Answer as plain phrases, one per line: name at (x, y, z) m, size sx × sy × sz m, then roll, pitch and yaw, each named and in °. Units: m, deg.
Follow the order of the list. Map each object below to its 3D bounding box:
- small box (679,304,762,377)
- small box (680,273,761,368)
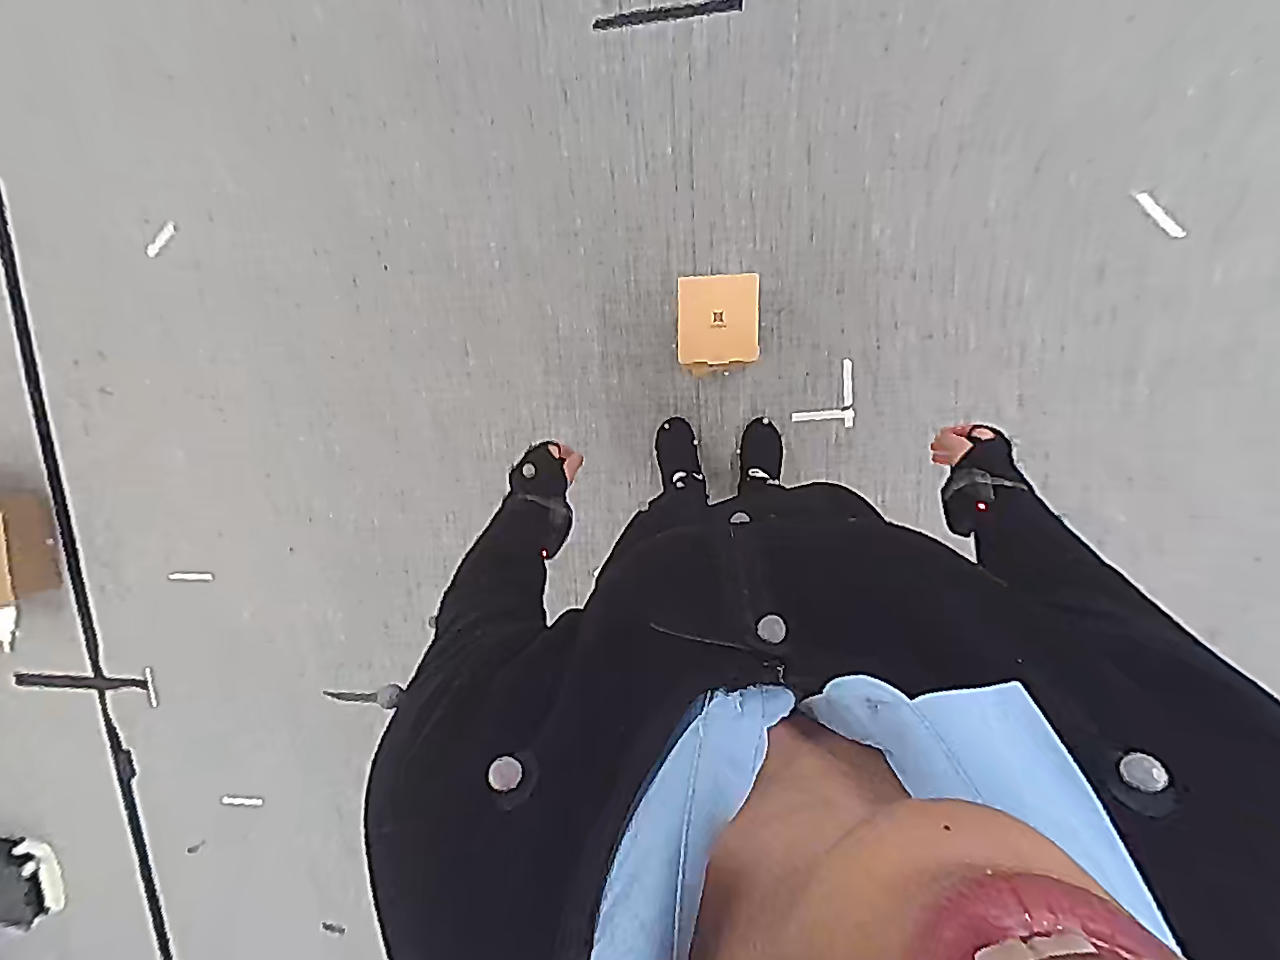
small box at (0.196, -0.360, 1.340) m, size 0.168 × 0.176 × 0.179 m, roll -13°, pitch 98°, yaw 9°
small box at (0.171, -0.340, 1.180) m, size 0.168 × 0.176 × 0.179 m, roll -1°, pitch 100°, yaw 6°
